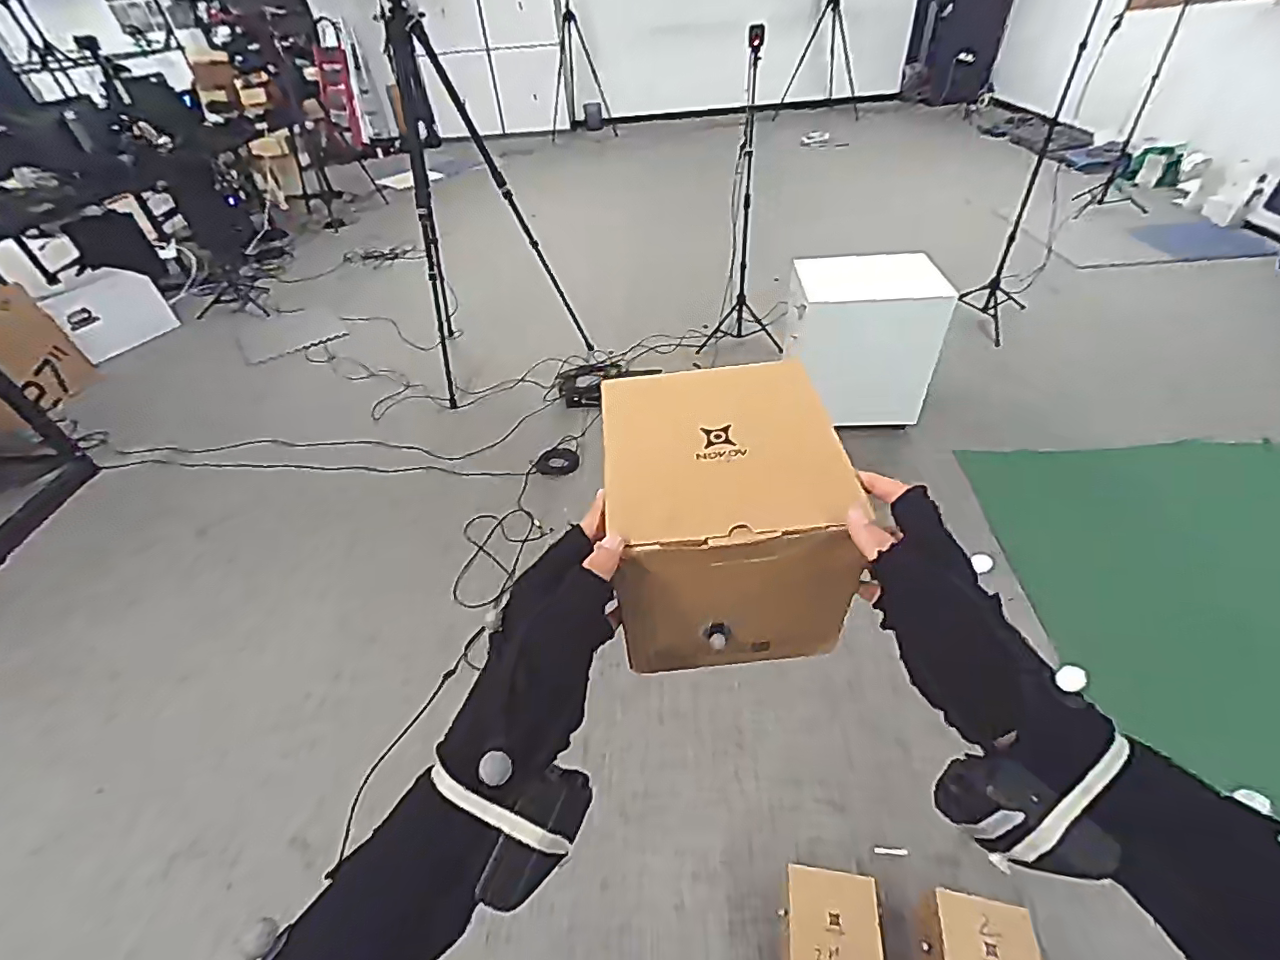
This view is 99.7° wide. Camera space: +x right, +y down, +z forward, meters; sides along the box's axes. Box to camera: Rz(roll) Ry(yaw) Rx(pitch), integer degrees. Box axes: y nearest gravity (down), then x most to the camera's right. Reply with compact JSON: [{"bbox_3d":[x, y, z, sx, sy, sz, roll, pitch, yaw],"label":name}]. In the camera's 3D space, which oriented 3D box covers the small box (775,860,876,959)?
[{"bbox_3d":[0.358,0.890,1.069,0.168,0.176,0.179,4,44,11],"label":"small box"}]
